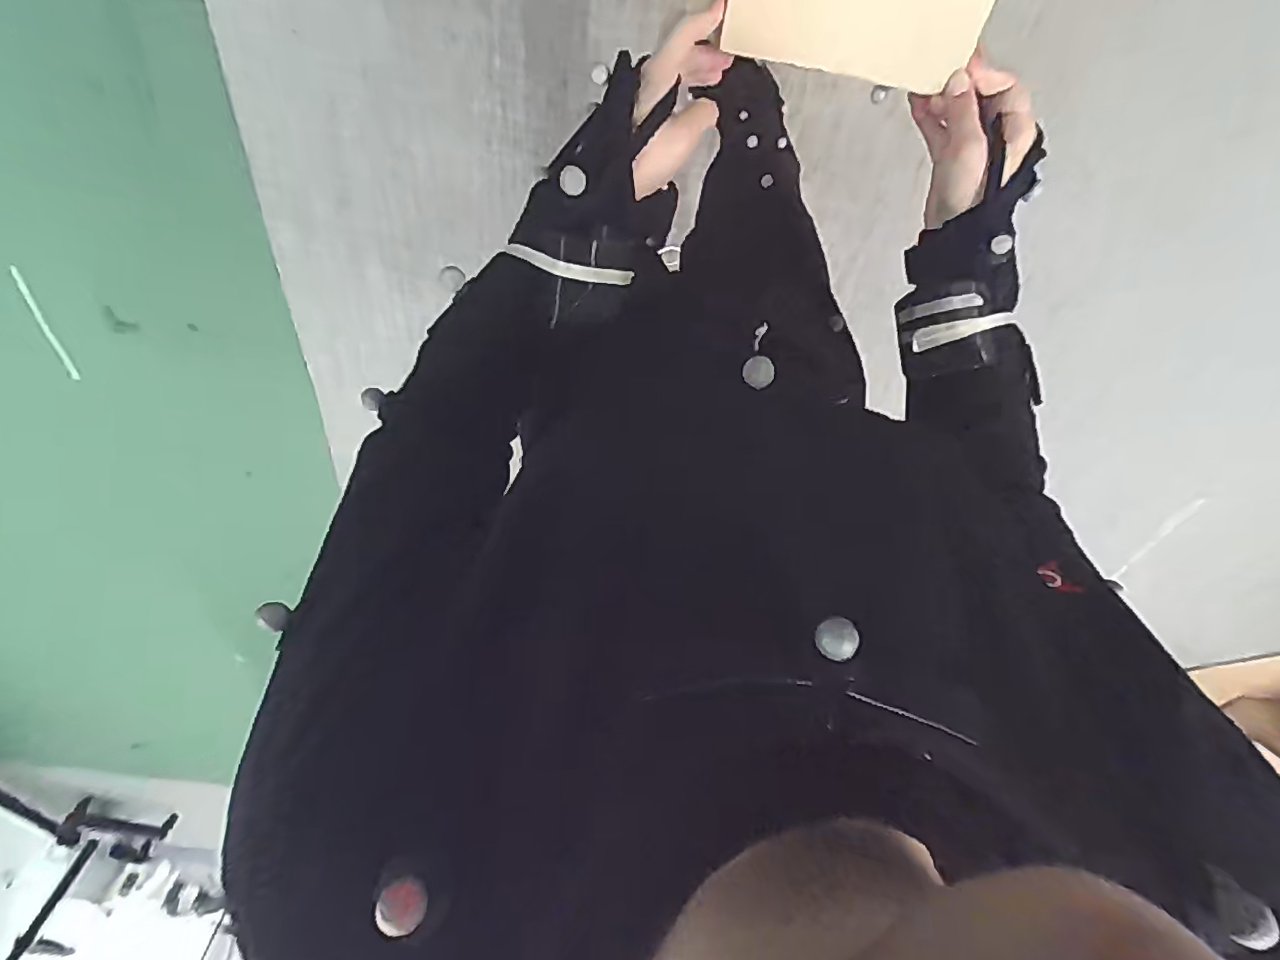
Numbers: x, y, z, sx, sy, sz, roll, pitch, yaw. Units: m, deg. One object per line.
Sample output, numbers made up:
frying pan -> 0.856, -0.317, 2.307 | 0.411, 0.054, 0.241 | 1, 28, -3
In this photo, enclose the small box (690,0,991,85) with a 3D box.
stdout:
small box -> 0.140, -0.394, 0.365 | 0.179, 0.176, 0.168 | 3, 135, -10
